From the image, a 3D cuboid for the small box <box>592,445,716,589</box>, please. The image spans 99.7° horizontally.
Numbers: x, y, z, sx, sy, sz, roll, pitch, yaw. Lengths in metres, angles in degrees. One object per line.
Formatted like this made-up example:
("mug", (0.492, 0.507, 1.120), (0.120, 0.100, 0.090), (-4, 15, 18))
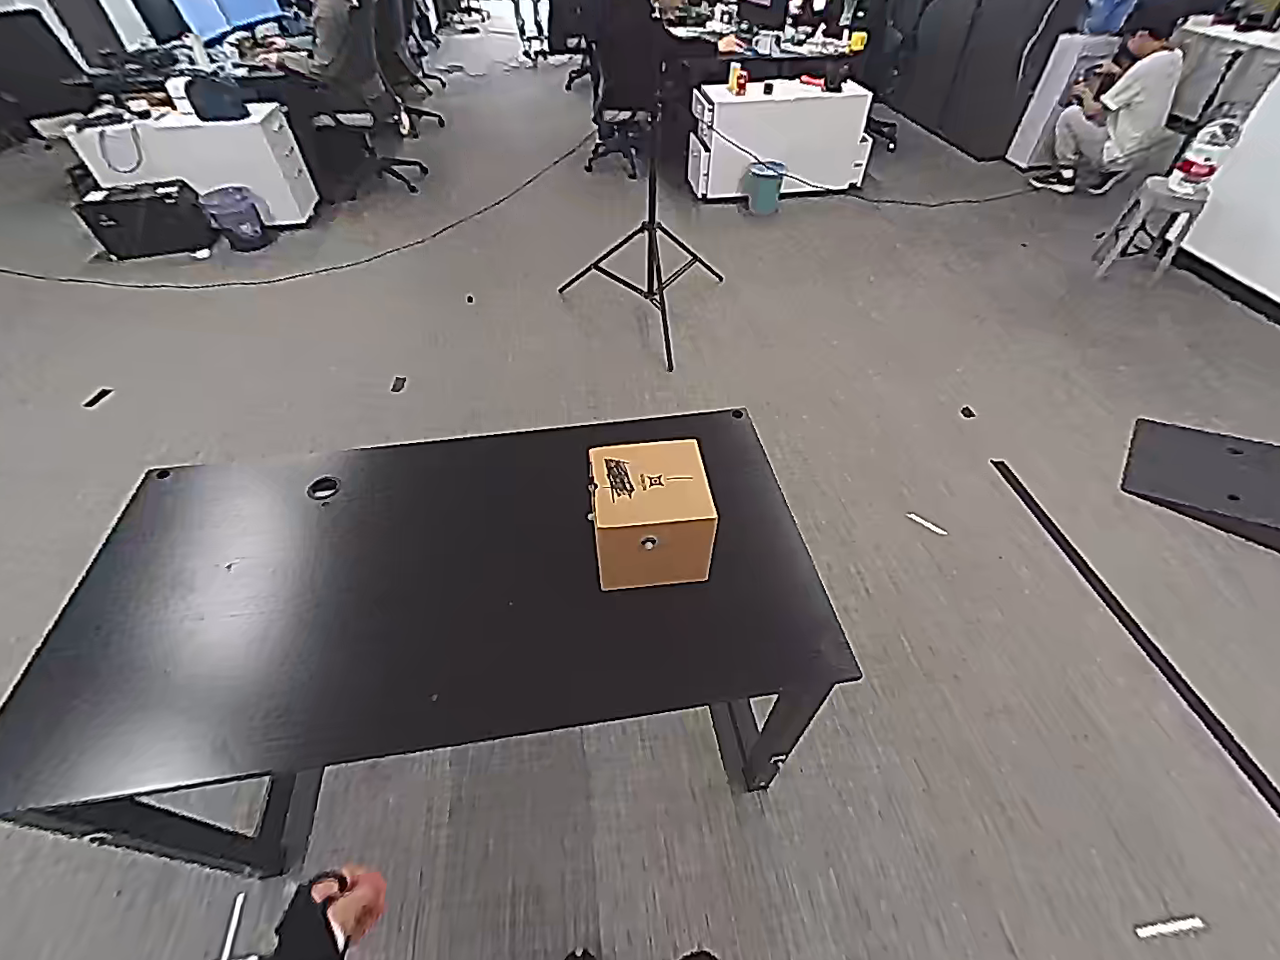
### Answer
("small box", (0.018, 0.064, 0.886), (0.179, 0.176, 0.168), (-5, 48, -4))
